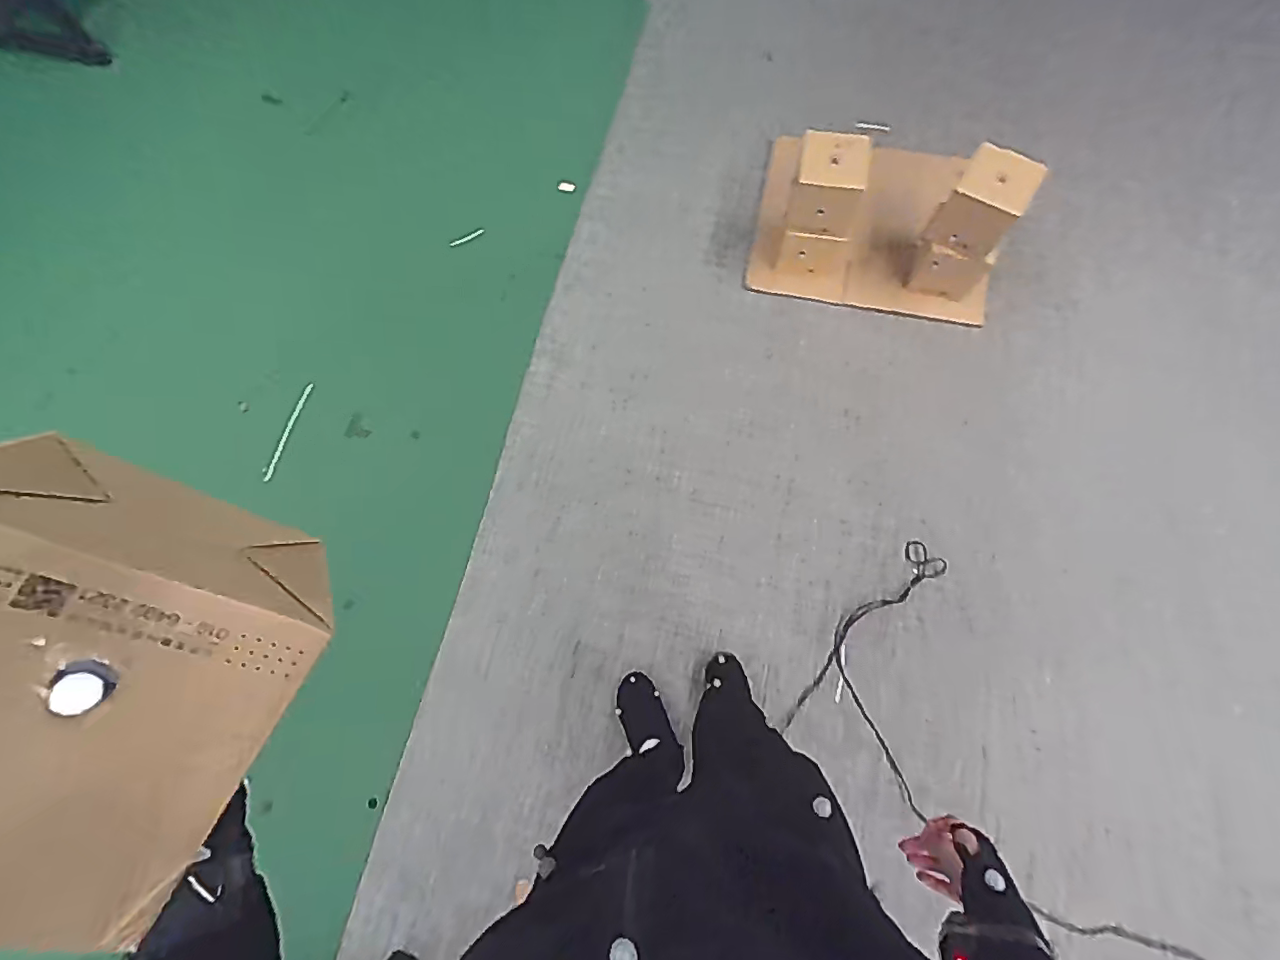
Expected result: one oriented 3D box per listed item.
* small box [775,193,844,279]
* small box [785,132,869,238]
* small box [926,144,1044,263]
[{"bbox_3d":[0.498,-0.716,1.582,0.168,0.176,0.179,10,73,6],"label":"small box"},{"bbox_3d":[0.488,-0.772,1.427,0.168,0.176,0.179,10,73,6],"label":"small box"},{"bbox_3d":[0.869,-0.699,1.378,0.168,0.176,0.179,32,77,11],"label":"small box"}]
